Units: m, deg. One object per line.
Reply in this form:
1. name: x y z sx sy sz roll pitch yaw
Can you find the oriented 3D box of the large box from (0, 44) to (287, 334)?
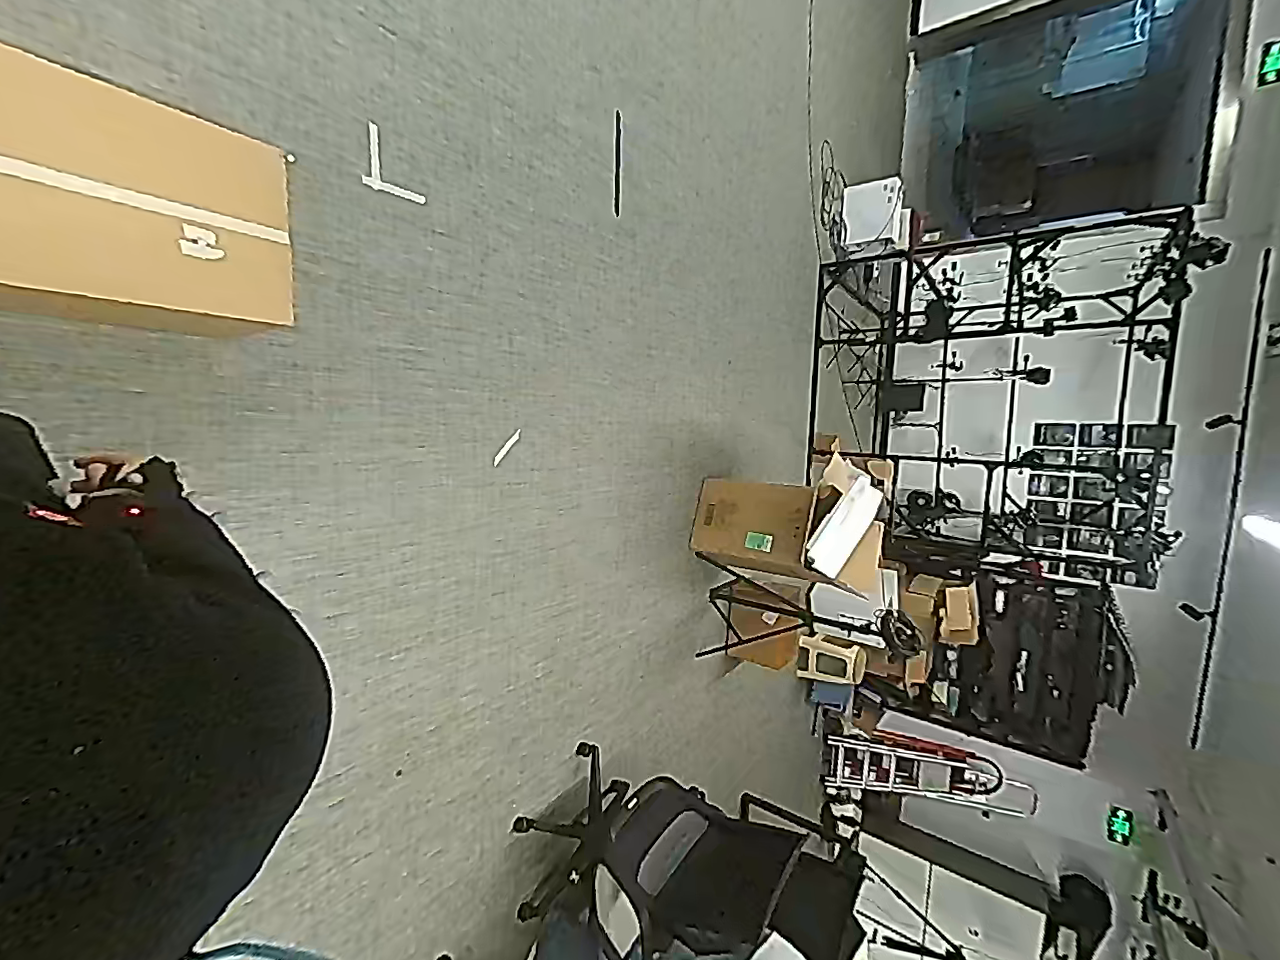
1. large box: -0.890 -0.438 0.909 0.408 0.320 0.320 -8 101 -55
